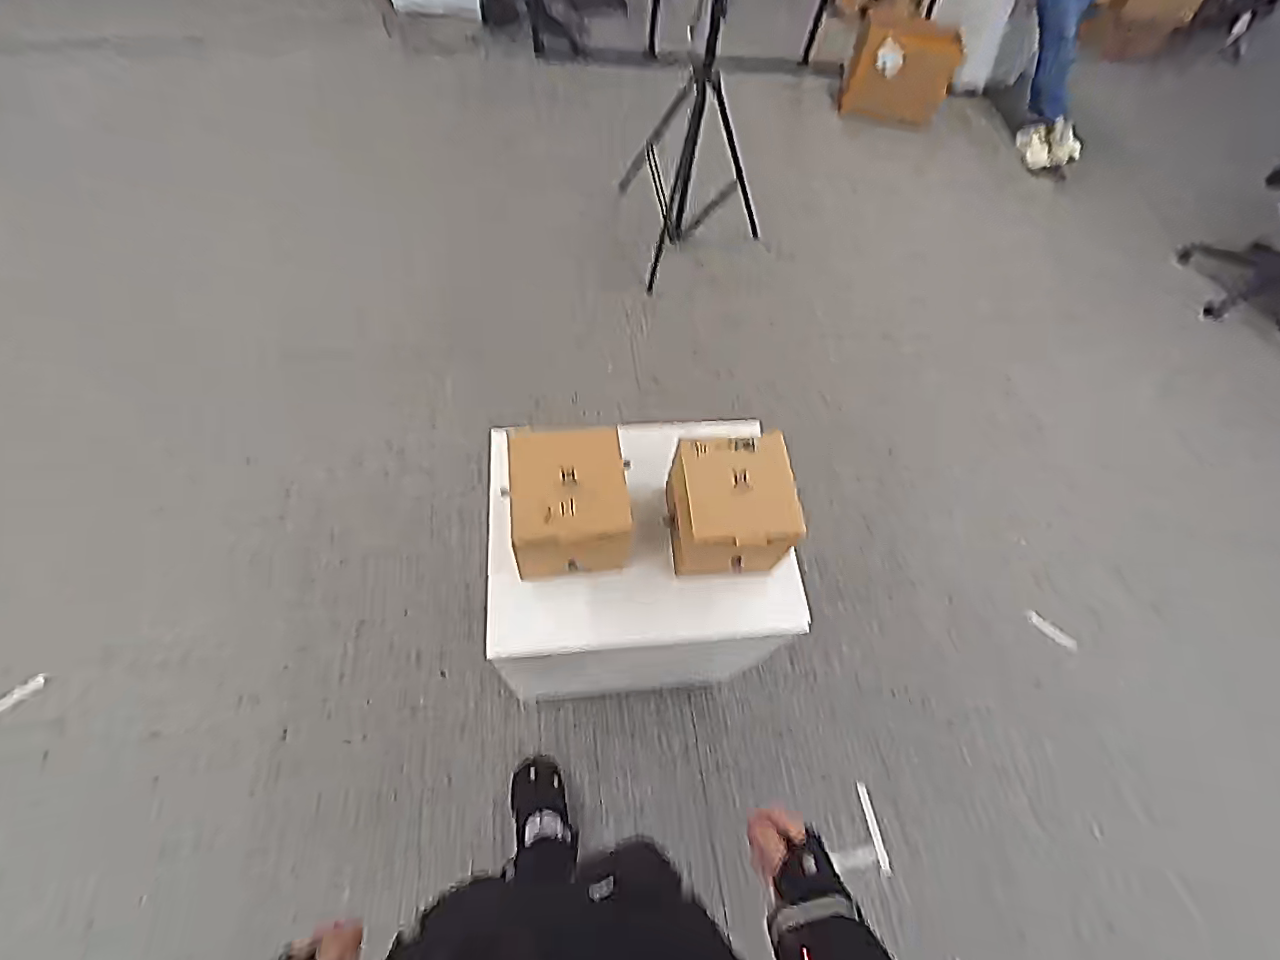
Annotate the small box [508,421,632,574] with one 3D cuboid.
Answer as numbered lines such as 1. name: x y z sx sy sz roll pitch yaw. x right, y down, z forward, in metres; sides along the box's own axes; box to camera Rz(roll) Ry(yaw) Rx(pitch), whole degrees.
1. small box: -0.111 0.030 0.834 0.168 0.176 0.179 -5 63 -9

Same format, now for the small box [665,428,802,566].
1. small box: 0.137 0.034 0.862 0.168 0.176 0.179 -1 64 -8
